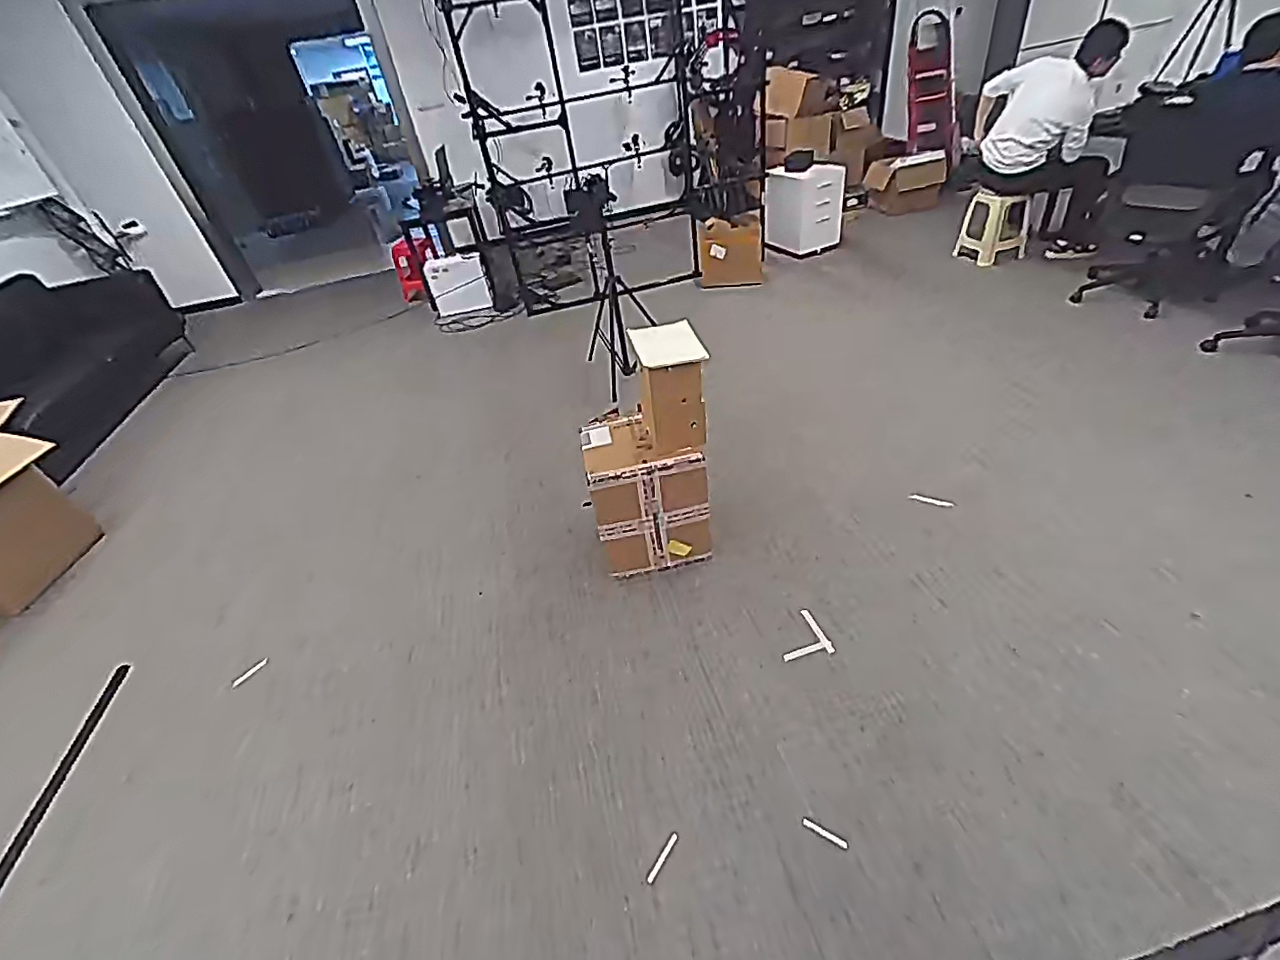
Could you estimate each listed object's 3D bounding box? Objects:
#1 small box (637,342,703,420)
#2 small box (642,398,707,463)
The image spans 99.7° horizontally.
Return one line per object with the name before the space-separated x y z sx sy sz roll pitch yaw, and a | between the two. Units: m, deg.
small box | 0.094 -0.312 1.699 0.168 0.176 0.179 -13 39 -7
small box | 0.115 -0.181 1.795 0.179 0.176 0.168 -15 39 -8
